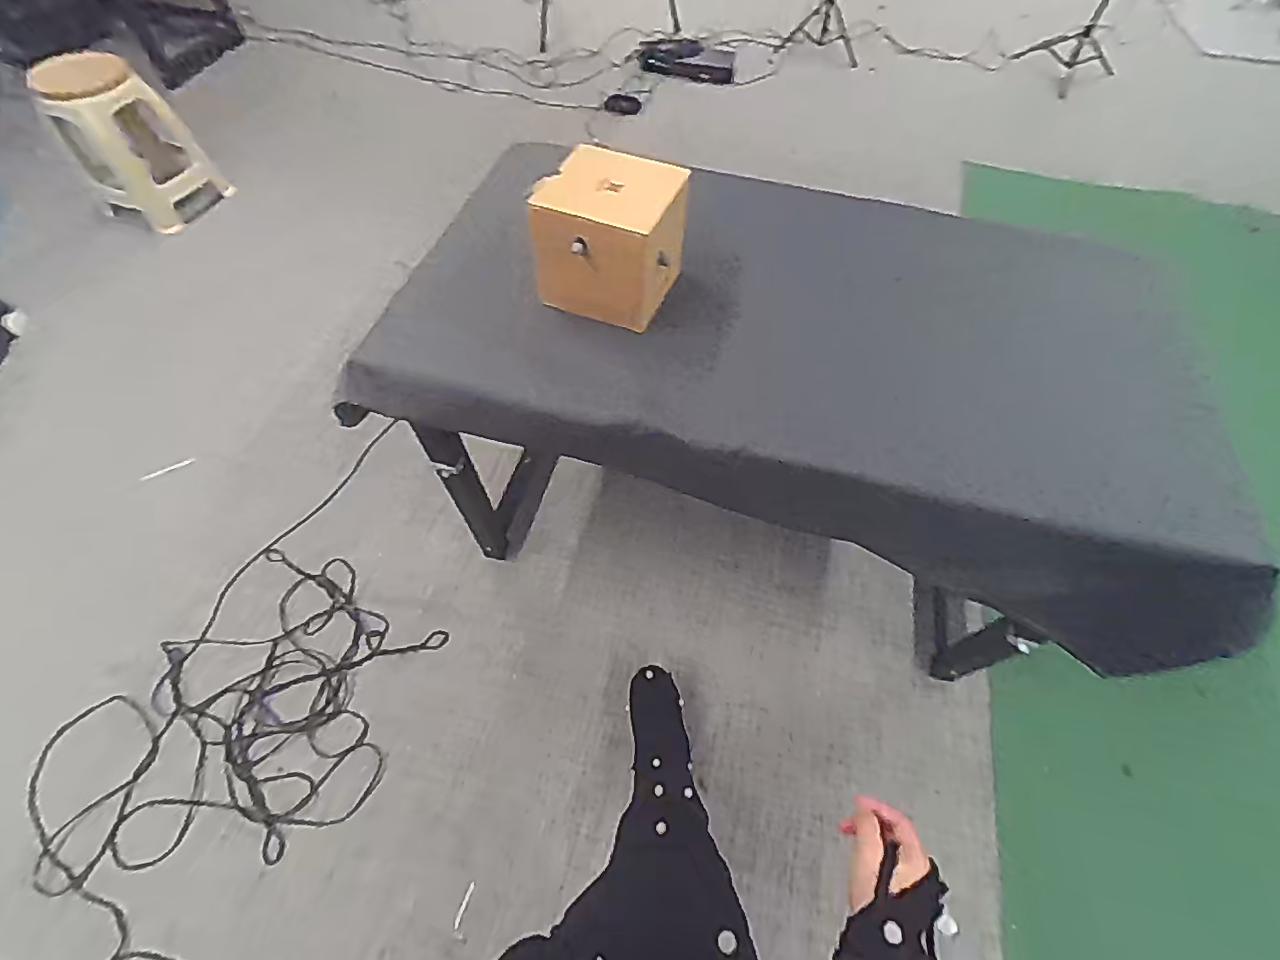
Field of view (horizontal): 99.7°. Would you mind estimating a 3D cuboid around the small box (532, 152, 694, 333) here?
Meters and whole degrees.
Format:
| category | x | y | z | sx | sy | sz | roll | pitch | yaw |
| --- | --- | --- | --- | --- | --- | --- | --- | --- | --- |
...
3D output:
| category | x | y | z | sx | sy | sz | roll | pitch | yaw |
| --- | --- | --- | --- | --- | --- | --- | --- | --- | --- |
| small box | -0.036 | -0.346 | 0.805 | 0.179 | 0.176 | 0.168 | 20 | 59 | 11 |
